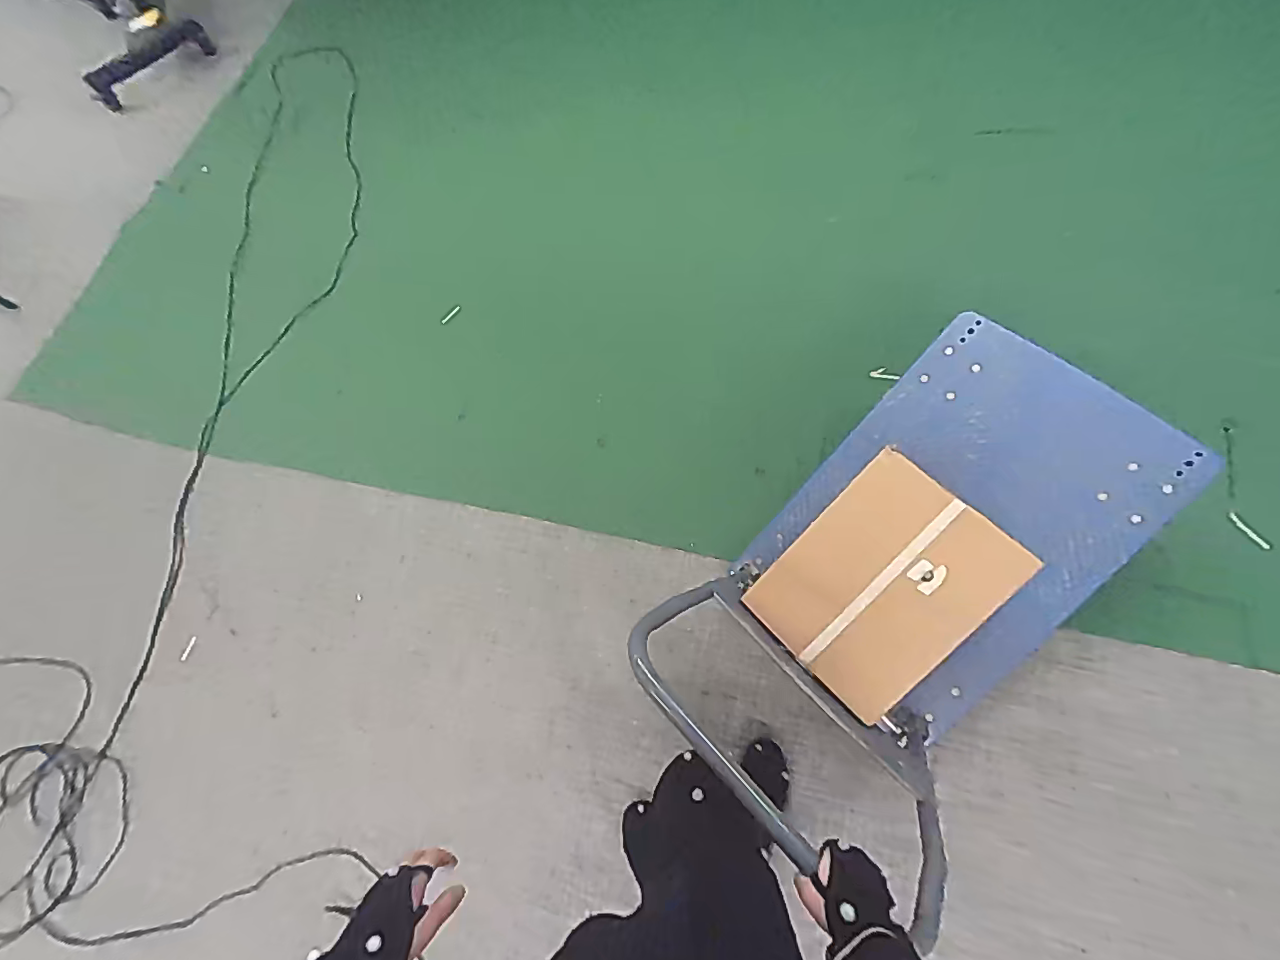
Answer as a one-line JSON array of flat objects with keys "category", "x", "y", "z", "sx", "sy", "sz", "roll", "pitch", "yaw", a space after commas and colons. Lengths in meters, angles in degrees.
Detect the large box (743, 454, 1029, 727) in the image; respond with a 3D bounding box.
[{"category": "large box", "x": 0.481, "y": 0.219, "z": 1.120, "sx": 0.320, "sy": 0.320, "sz": 0.408, "roll": 45, "pitch": 99, "yaw": 21}]
